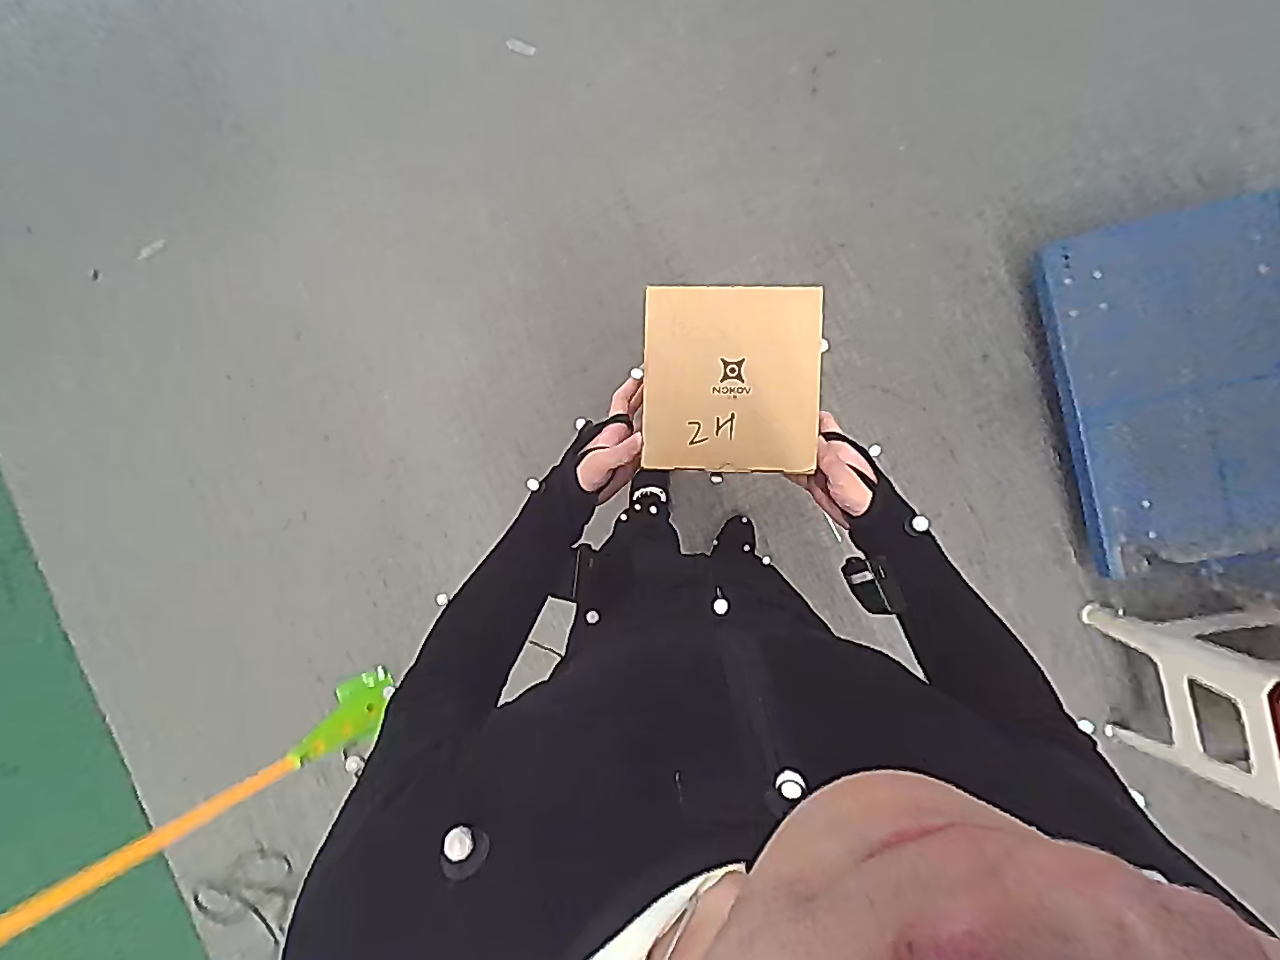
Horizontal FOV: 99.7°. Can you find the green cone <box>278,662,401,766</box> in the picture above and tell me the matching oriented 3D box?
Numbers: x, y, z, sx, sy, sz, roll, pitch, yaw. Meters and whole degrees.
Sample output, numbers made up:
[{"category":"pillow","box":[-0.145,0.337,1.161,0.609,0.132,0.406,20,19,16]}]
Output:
[{"category":"green cone","box":[-0.913,0.717,1.587,0.200,0.368,0.202,-23,90,7]}]

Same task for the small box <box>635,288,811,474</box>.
[{"category":"small box","box":[0.082,-0.098,0.597,0.168,0.176,0.179,1,93,3]}]
